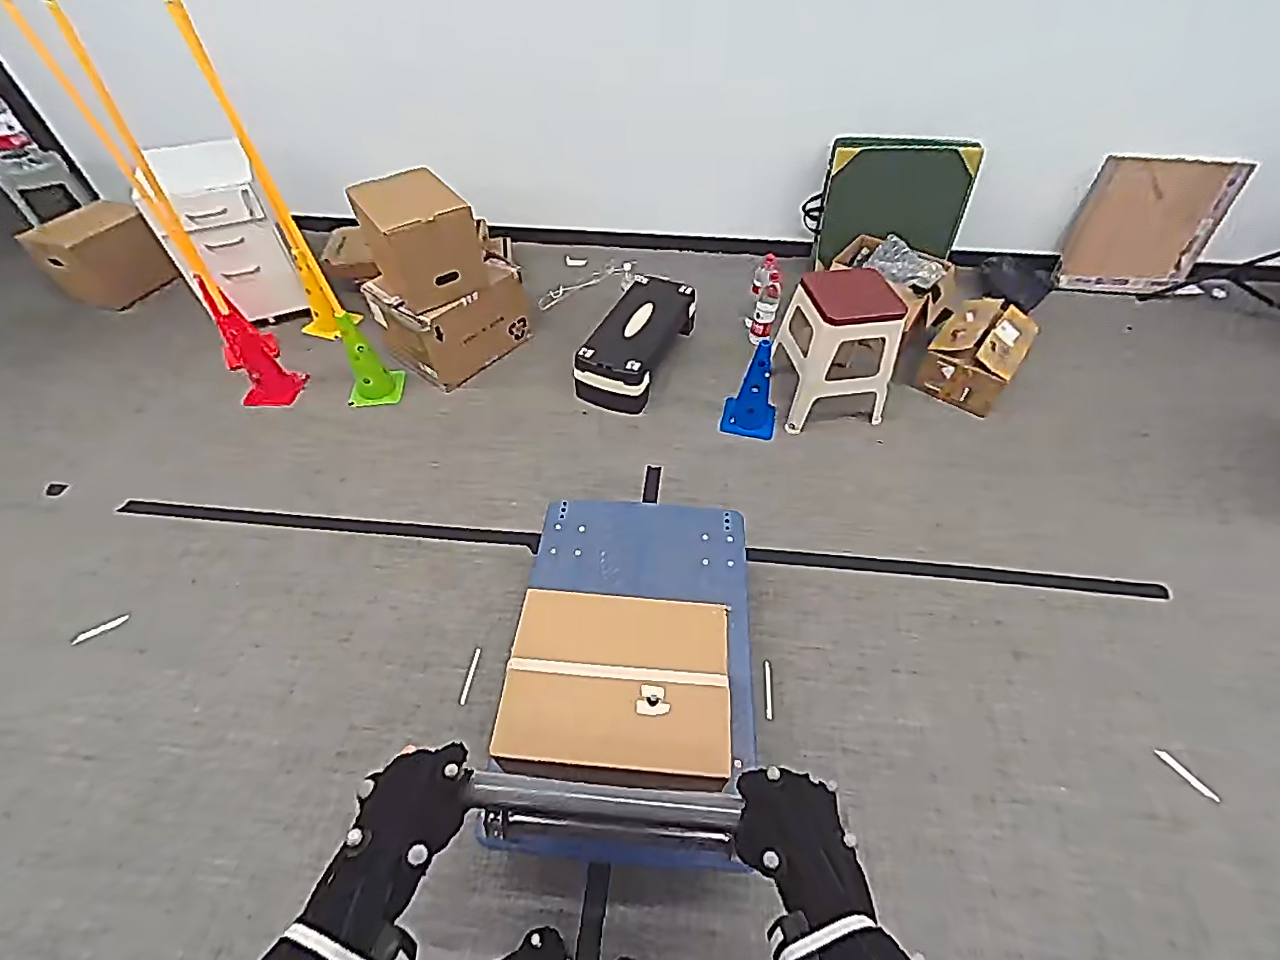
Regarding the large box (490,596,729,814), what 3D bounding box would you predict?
[{"bbox_3d":[-0.049,0.458,1.093,0.408,0.320,0.320,5,50,1],"label":"large box"}]
